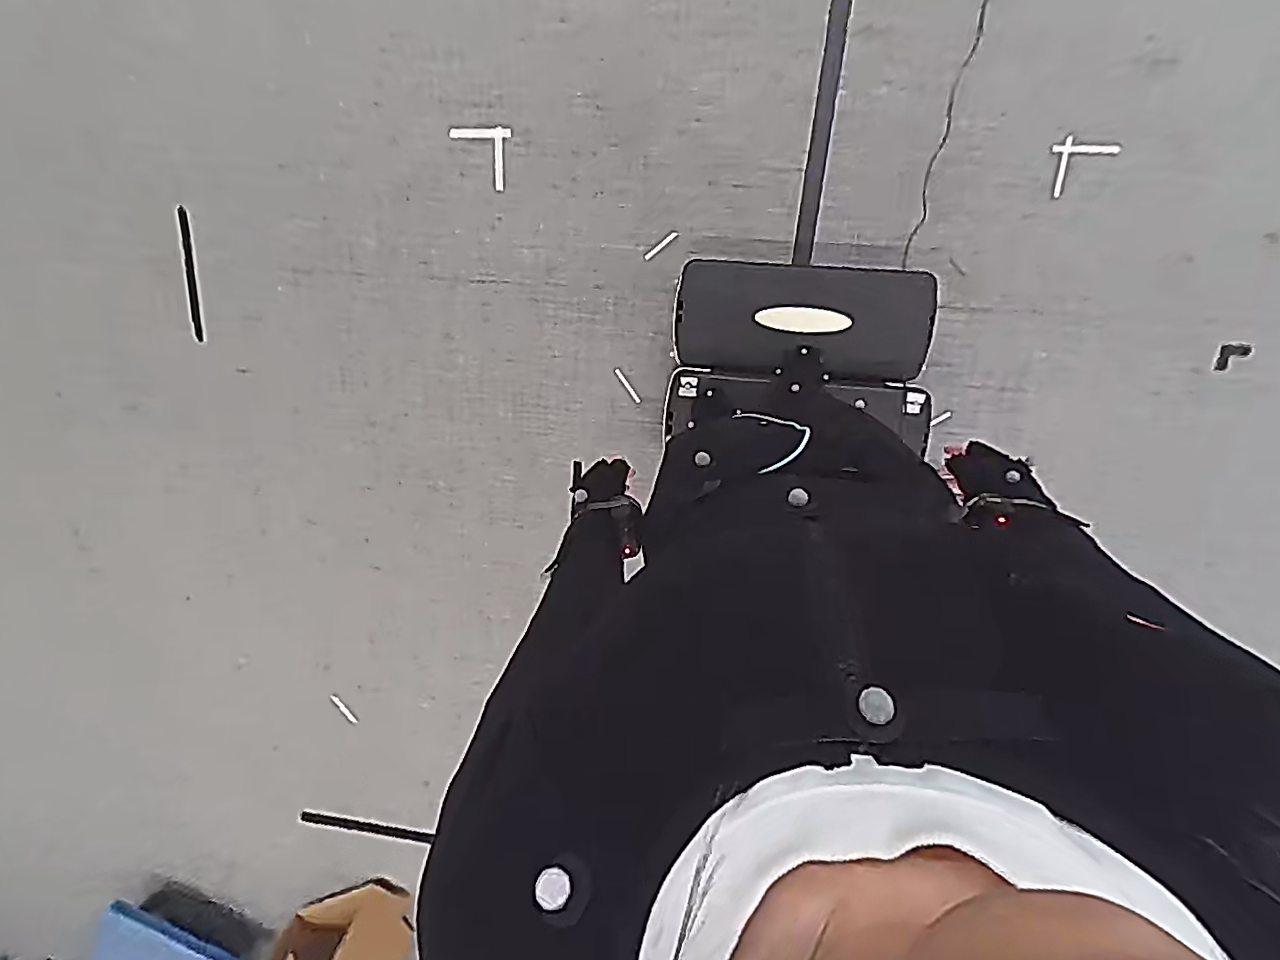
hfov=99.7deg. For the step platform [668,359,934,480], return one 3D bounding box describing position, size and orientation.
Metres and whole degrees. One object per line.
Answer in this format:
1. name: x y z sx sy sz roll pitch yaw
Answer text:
1. step platform: 0.419 -0.170 1.481 0.684 0.204 0.286 5 103 7
